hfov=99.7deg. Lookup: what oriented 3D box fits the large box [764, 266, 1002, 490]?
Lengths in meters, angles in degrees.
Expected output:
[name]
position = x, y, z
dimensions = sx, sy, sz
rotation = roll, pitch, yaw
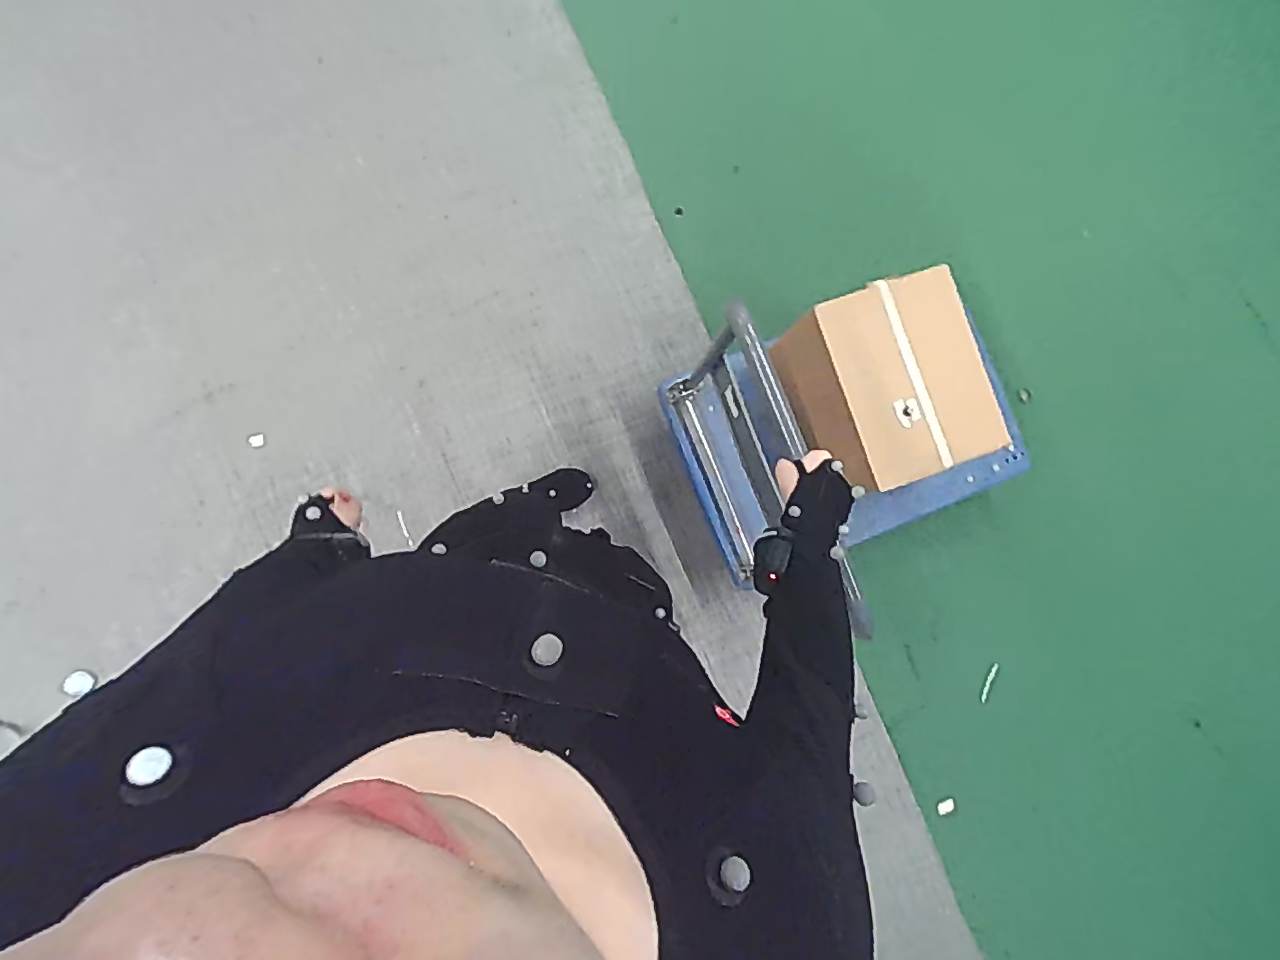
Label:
[large box]
position = 0.540, -0.215, 1.272
dimensions = 0.320, 0.320, 0.408
rotation = -19, 89, -6
